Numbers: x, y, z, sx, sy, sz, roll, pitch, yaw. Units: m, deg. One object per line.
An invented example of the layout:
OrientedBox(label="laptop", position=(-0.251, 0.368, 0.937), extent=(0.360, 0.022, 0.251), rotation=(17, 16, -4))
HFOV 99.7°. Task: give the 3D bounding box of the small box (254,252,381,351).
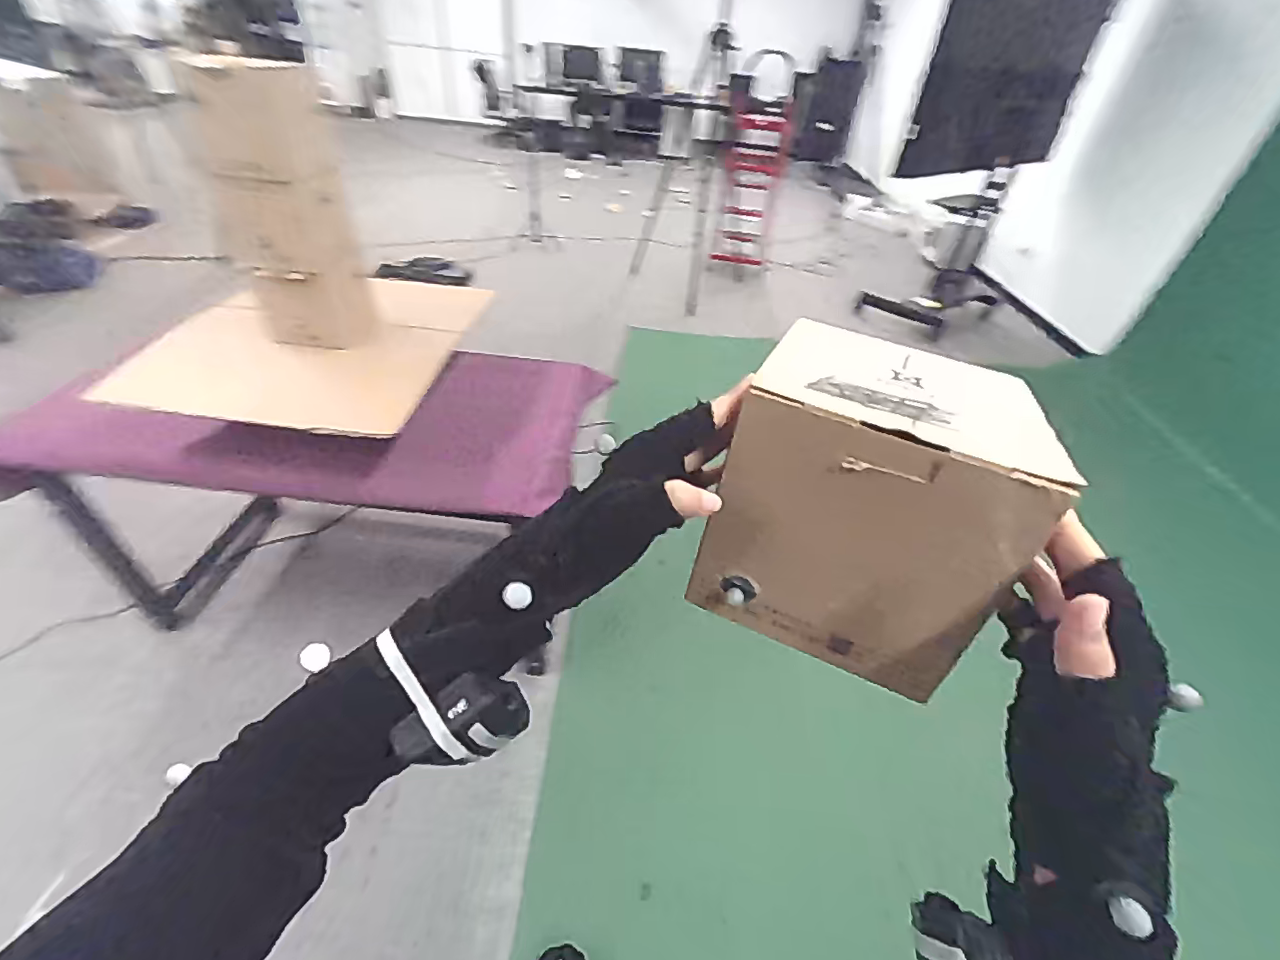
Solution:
OrientedBox(label="small box", position=(-0.707, -0.409, 1.215), extent=(0.168, 0.176, 0.179), rotation=(7, 39, 3))

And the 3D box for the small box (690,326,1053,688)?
OrientedBox(label="small box", position=(0.145, 0.010, 0.387), extent=(0.168, 0.176, 0.179), rotation=(20, 34, 14))

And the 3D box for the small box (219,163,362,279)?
OrientedBox(label="small box", position=(-0.696, -0.531, 1.107), extent=(0.168, 0.176, 0.179), rotation=(6, 39, 1))
